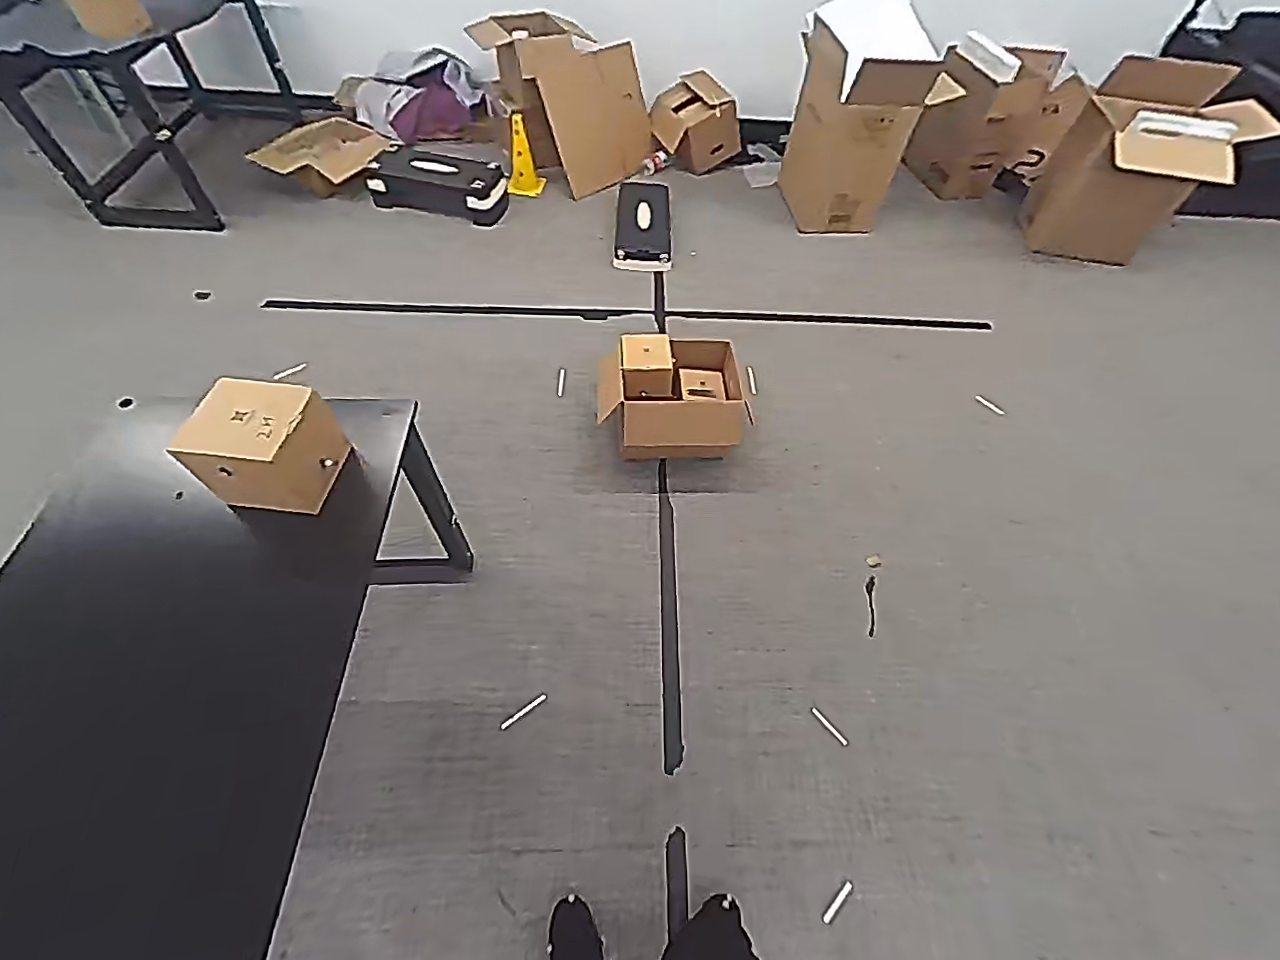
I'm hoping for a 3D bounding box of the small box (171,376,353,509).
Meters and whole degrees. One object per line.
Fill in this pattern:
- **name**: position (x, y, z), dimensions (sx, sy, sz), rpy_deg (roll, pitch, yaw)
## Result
- **small box**: position (-0.659, -0.062, 0.970), dimensions (0.179, 0.176, 0.168), rpy_deg (7, 56, 1)
